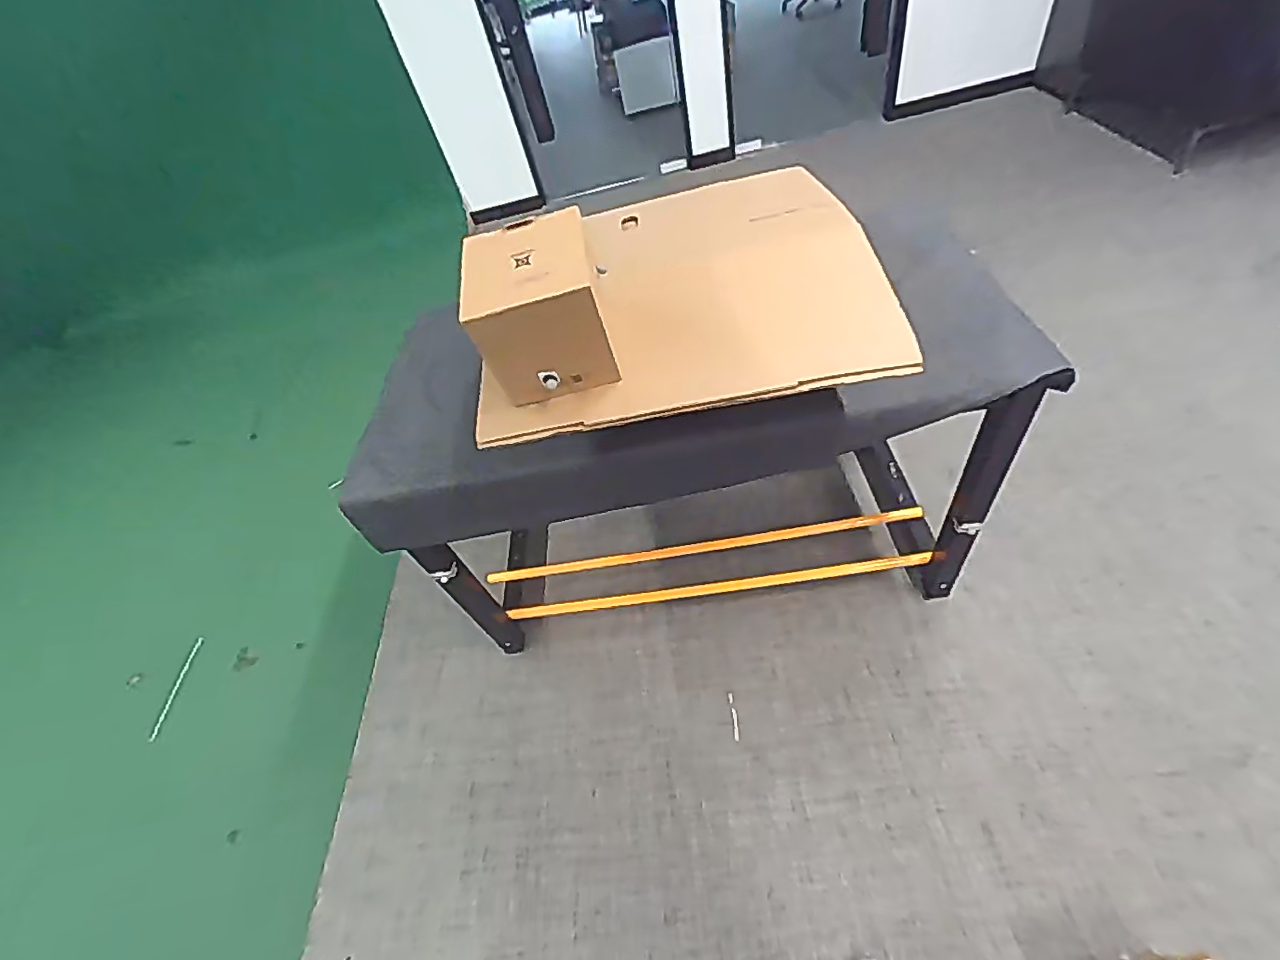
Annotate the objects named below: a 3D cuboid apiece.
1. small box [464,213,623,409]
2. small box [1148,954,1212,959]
[{"bbox_3d":[-0.129,-0.230,0.755,0.168,0.176,0.179,-15,57,5],"label":"small box"},{"bbox_3d":[0.791,0.834,0.800,0.168,0.176,0.179,-14,47,3],"label":"small box"}]
